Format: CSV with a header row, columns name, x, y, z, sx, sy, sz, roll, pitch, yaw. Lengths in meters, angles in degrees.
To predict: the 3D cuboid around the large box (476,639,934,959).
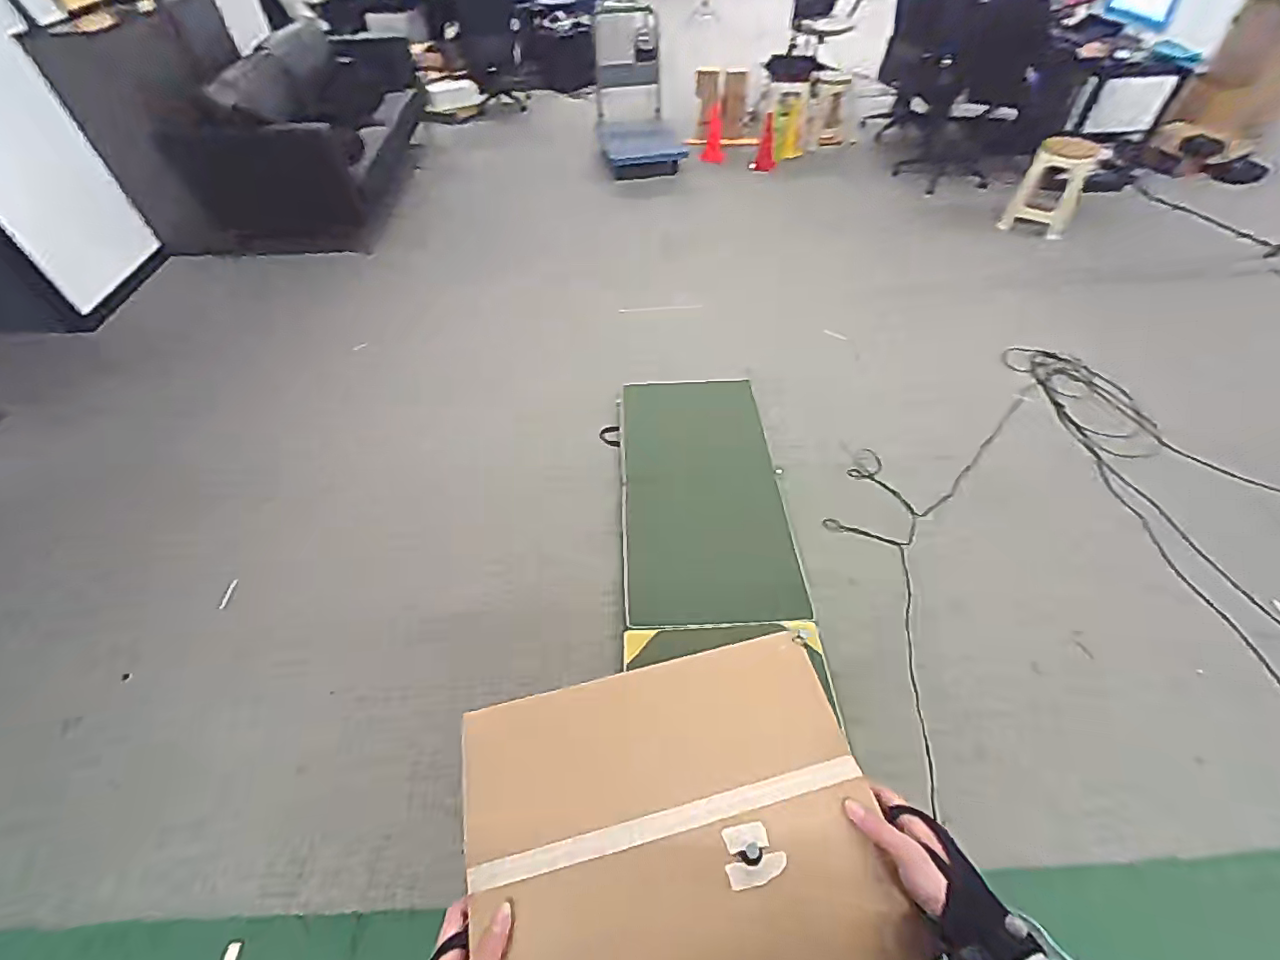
name,x,y,z,sx,sy,sz,roll,pitch,yaw
large box,0.043,0.445,0.665,0.408,0.320,0.320,-12,52,-7
